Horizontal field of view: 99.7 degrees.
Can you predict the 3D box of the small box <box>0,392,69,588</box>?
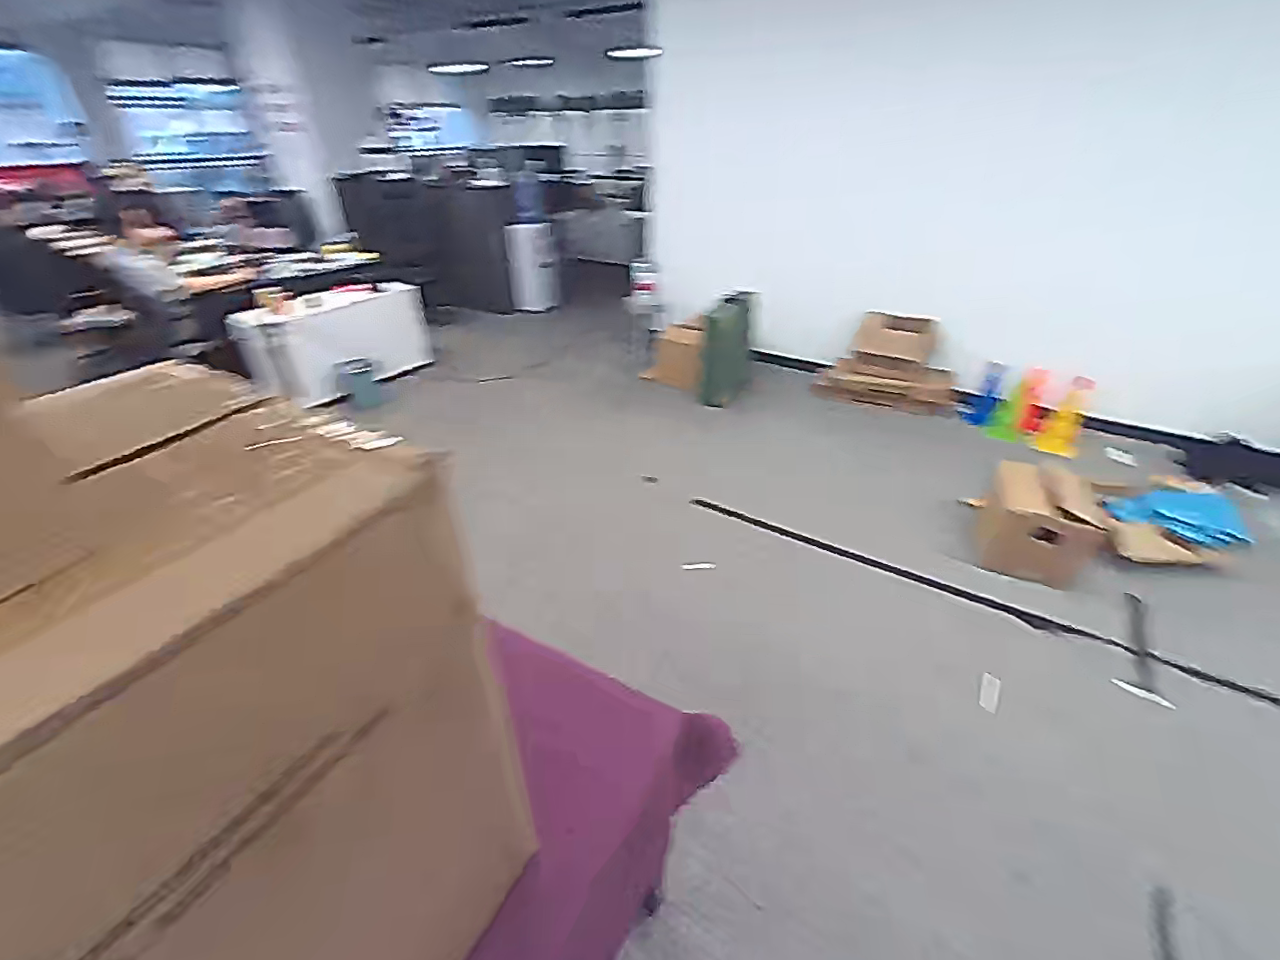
[{"bbox_3d":[-0.418,-0.011,0.235,0.168,0.176,0.179,15,36,21],"label":"small box"}]
